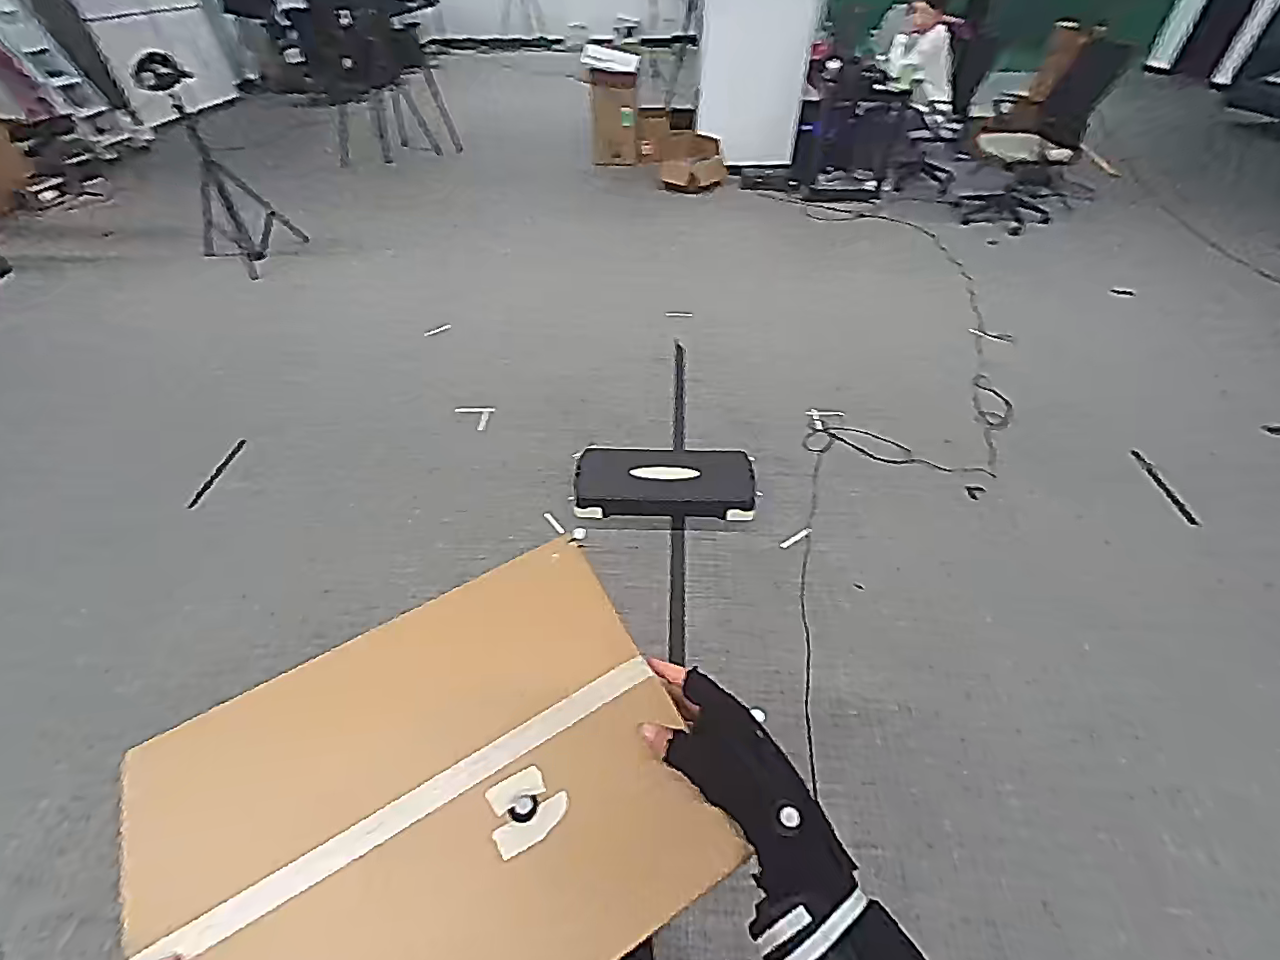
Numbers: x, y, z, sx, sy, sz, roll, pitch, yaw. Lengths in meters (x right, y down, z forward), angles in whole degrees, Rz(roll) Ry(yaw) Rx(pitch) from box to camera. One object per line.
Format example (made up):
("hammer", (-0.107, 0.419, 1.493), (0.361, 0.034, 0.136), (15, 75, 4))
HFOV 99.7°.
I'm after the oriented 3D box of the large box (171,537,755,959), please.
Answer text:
("large box", (-0.152, 0.333, 0.557), (0.408, 0.320, 0.320), (-25, 59, -16))
